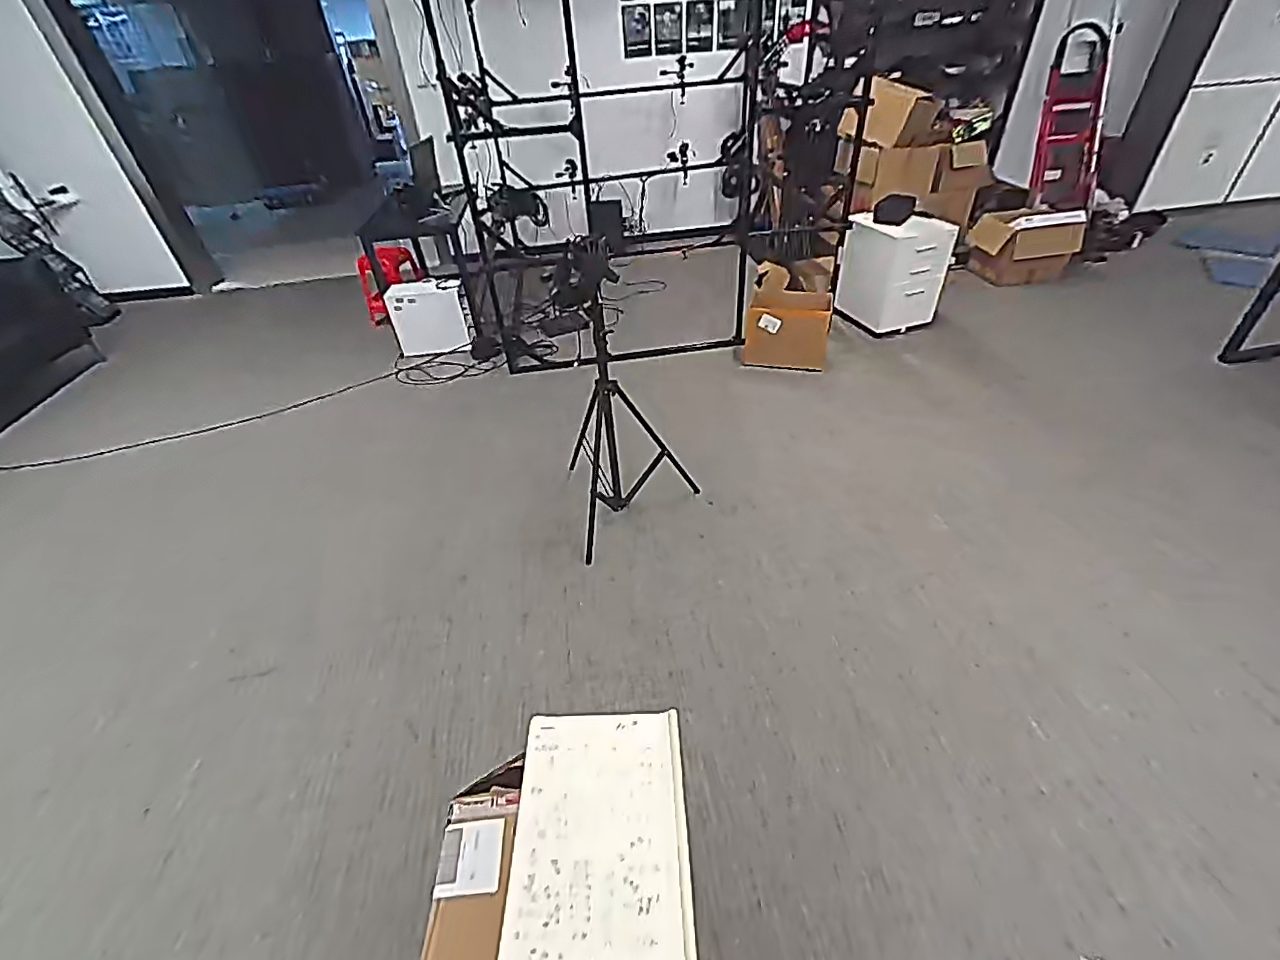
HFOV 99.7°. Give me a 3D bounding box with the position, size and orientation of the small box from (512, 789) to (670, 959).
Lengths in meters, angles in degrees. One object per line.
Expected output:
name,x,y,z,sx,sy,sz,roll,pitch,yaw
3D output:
small box,-0.052,0.507,0.666,0.168,0.176,0.179,-2,41,0

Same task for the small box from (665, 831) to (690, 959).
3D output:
small box,-0.028,0.630,0.774,0.179,0.176,0.168,-5,40,-3
